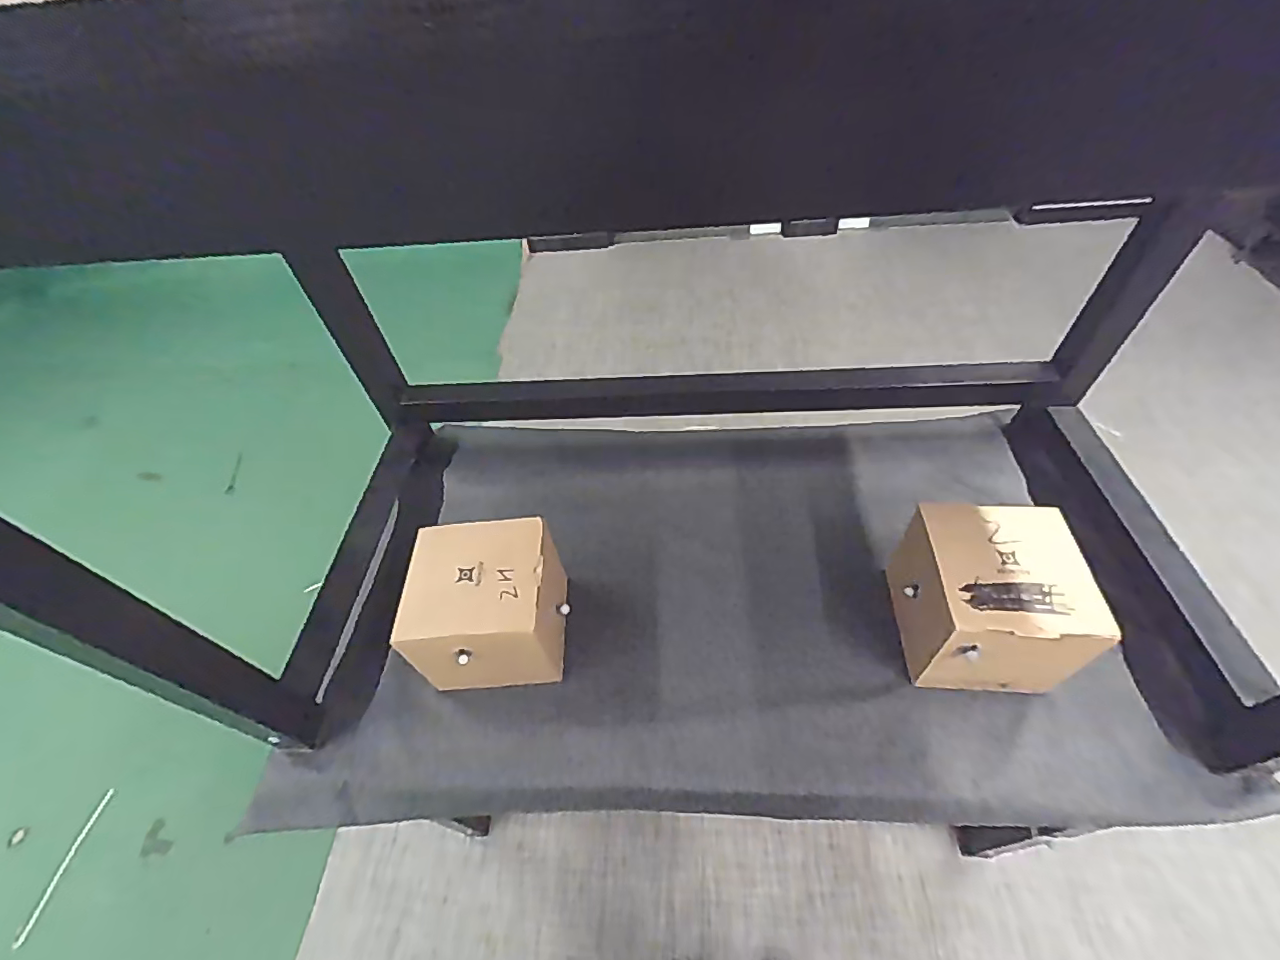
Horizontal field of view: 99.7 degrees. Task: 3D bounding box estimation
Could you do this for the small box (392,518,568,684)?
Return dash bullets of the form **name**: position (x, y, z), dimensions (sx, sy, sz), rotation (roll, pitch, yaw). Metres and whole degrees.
- **small box**: position (-0.205, 0.172, 0.748), dimensions (0.179, 0.176, 0.168), rotation (-4, 51, 2)
